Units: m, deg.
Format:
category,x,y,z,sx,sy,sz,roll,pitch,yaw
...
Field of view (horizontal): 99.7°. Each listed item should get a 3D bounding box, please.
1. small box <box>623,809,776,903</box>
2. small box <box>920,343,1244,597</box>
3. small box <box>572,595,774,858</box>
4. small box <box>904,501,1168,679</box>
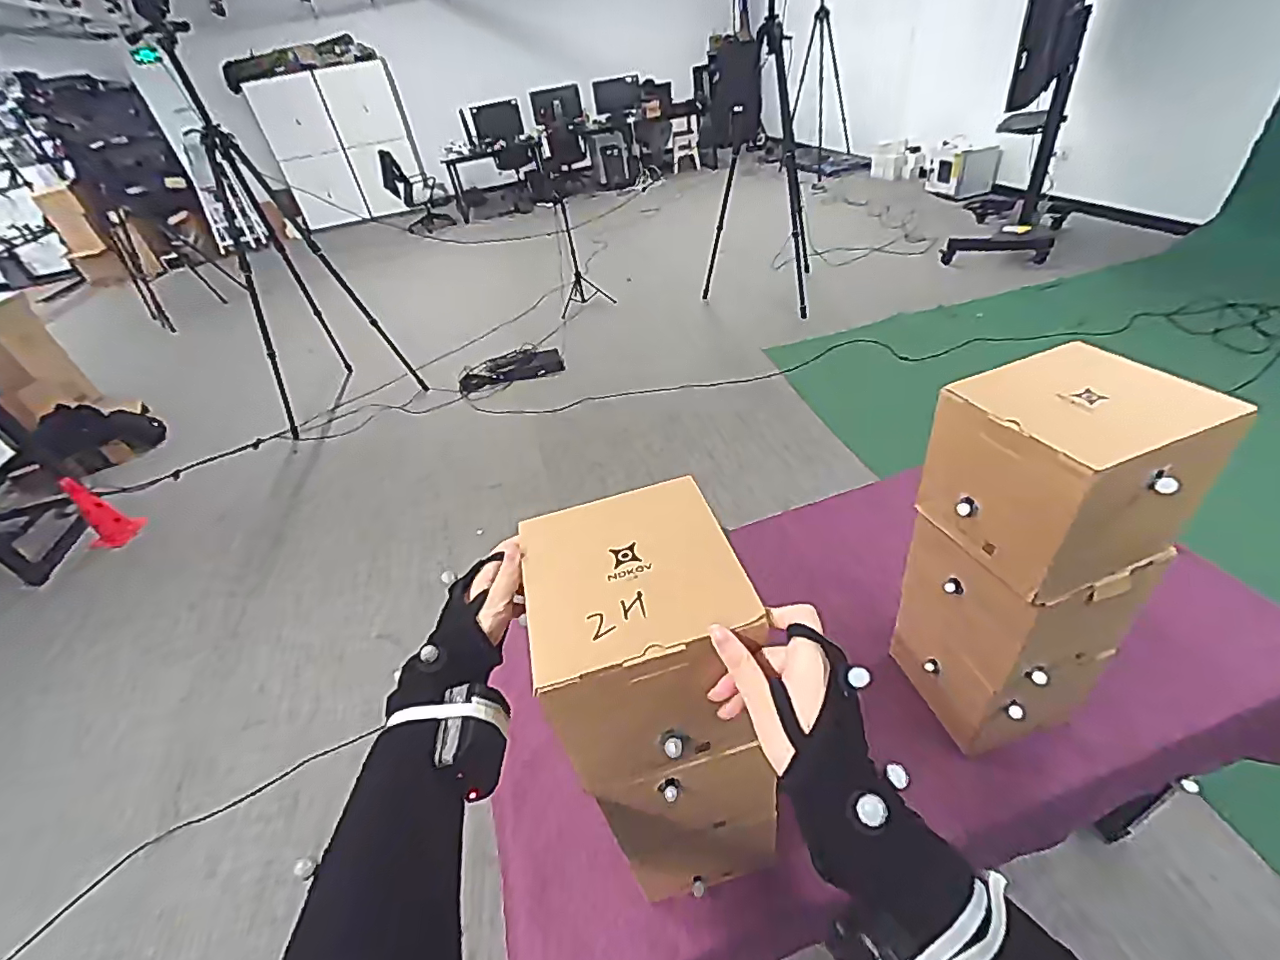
category,x,y,z,sx,sy,sz,roll,pitch,yaw
small box,0.060,0.387,0.681,0.168,0.176,0.179,-15,39,-3
small box,0.421,-0.013,0.555,0.179,0.176,0.168,-19,38,-9
small box,0.034,0.260,0.579,0.168,0.176,0.179,-16,38,-3
small box,0.452,0.113,0.653,0.168,0.176,0.179,-18,37,-8
